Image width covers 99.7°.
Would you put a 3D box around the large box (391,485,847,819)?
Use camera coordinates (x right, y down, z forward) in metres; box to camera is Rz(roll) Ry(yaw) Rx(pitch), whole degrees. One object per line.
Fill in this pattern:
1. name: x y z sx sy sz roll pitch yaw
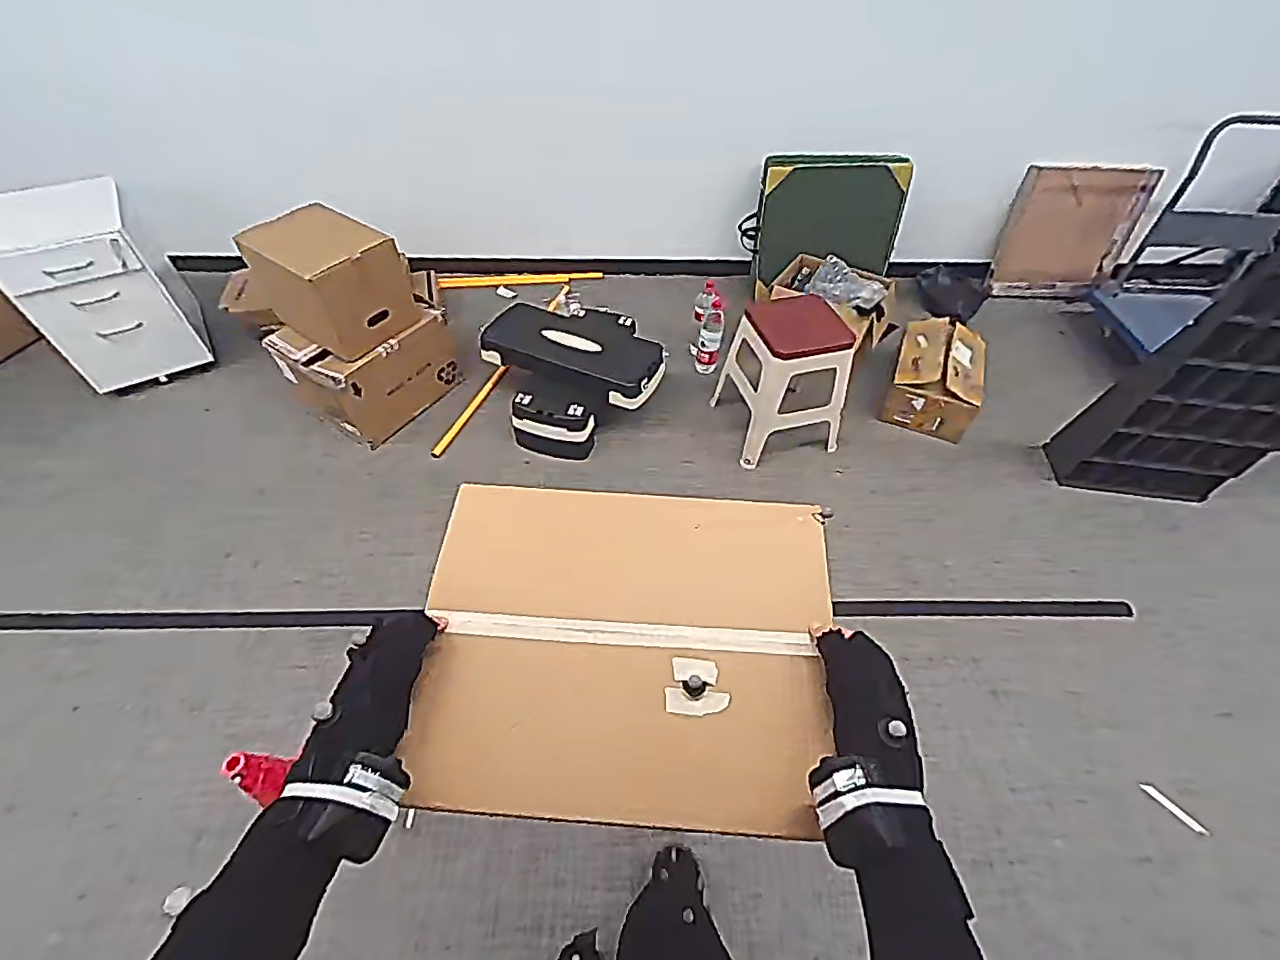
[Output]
1. large box: -0.014 0.223 0.666 0.408 0.320 0.320 4 59 2

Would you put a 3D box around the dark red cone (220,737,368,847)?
1. dark red cone: -0.748 0.612 1.121 0.201 0.394 0.202 6 50 2
